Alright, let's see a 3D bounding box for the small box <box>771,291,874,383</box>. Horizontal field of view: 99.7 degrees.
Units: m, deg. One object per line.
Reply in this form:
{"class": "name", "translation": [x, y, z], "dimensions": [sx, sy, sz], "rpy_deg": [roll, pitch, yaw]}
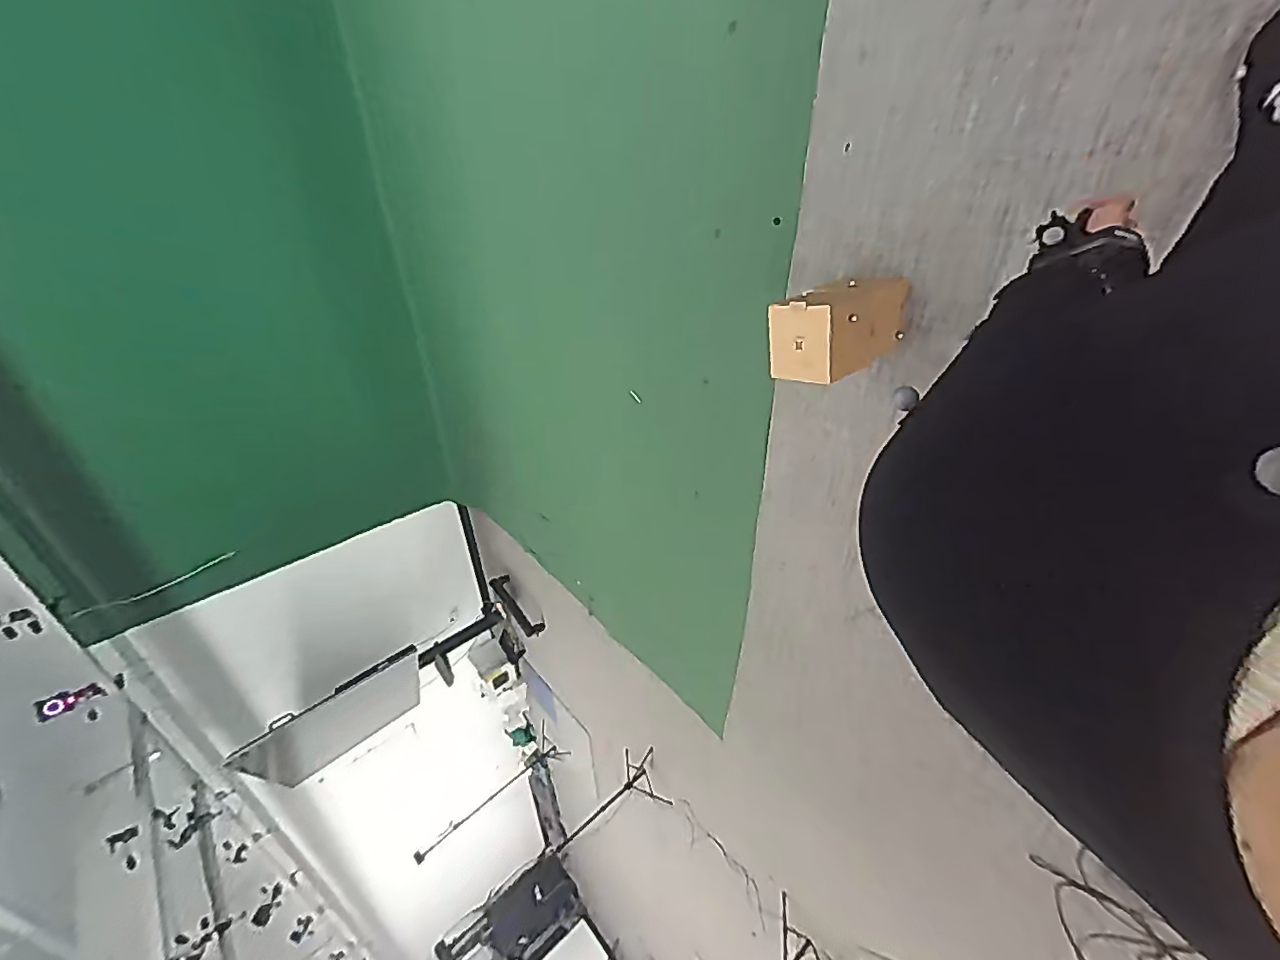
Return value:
{"class": "small box", "translation": [0.428, -0.342, 1.266], "dimensions": [0.168, 0.176, 0.179], "rpy_deg": [21, 129, 48]}

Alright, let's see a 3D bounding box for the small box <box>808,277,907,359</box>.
{"class": "small box", "translation": [0.544, -0.410, 1.357], "dimensions": [0.179, 0.176, 0.168], "rpy_deg": [23, 130, 46]}
